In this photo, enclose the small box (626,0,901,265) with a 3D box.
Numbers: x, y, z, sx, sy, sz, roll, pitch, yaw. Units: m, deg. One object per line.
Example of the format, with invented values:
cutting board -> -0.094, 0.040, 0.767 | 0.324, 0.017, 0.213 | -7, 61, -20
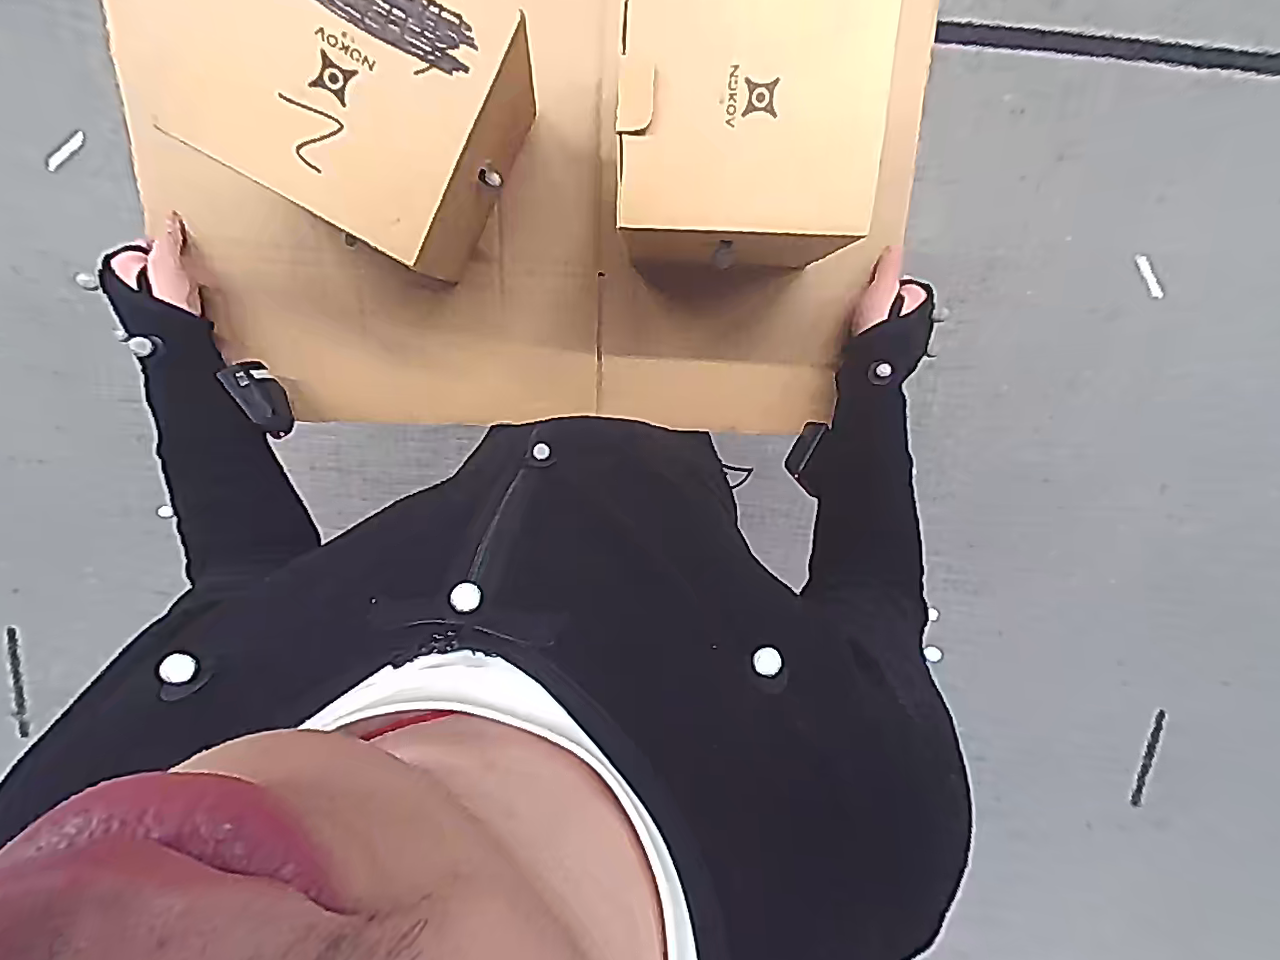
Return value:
small box -> 0.083, -0.276, 0.445 | 0.179, 0.176, 0.168 | 3, 105, 3
